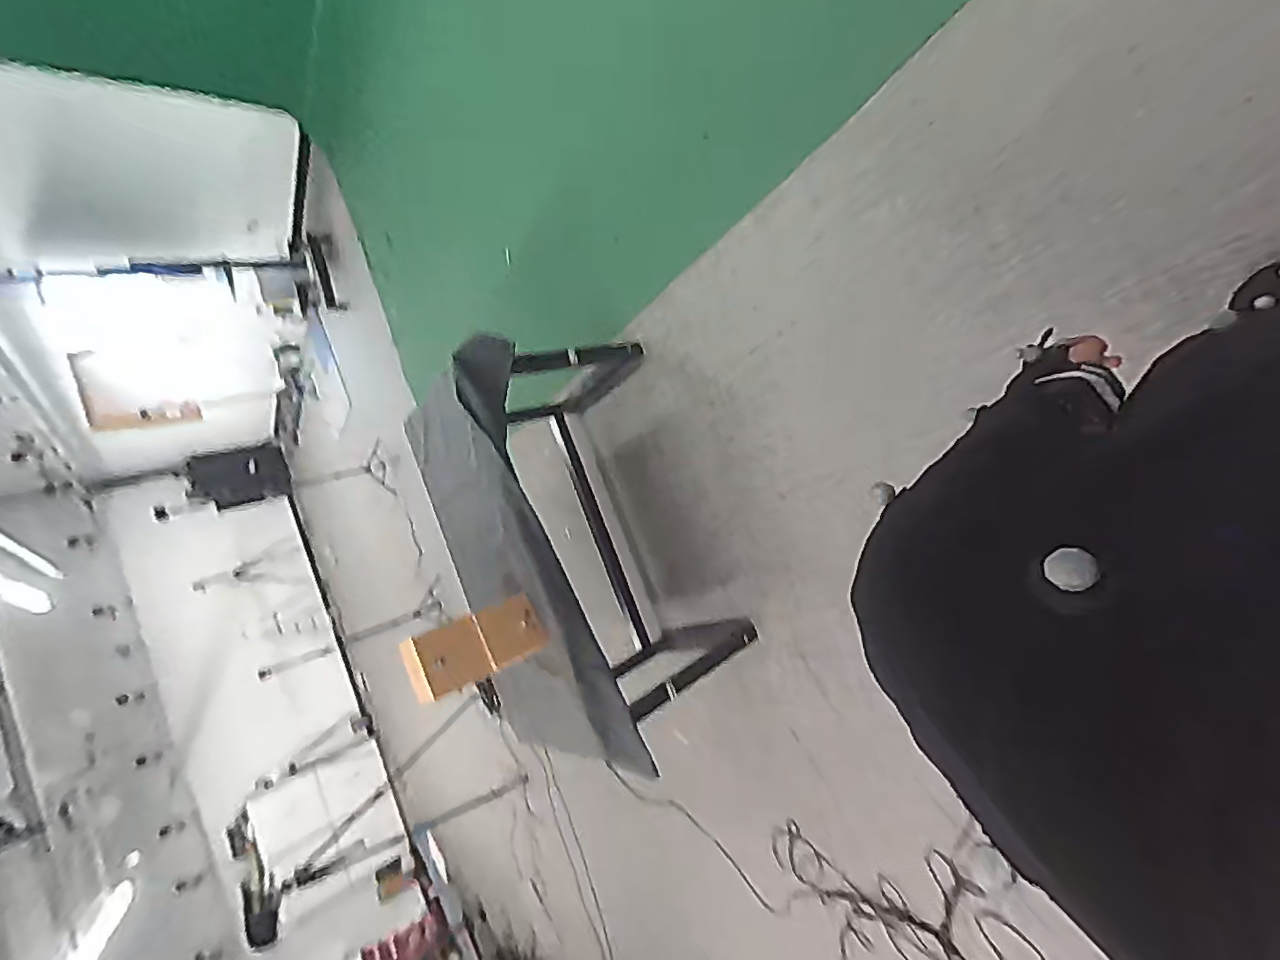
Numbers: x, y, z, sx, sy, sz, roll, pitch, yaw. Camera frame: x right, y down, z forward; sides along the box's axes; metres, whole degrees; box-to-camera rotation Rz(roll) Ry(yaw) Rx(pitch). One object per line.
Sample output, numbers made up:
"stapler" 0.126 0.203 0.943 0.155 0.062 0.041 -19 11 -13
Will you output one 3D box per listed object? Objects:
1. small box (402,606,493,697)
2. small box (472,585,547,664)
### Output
"small box" -0.524 0.468 1.481 0.168 0.176 0.179 -36 76 49
"small box" -0.394 0.426 1.570 0.179 0.176 0.168 -42 72 48
